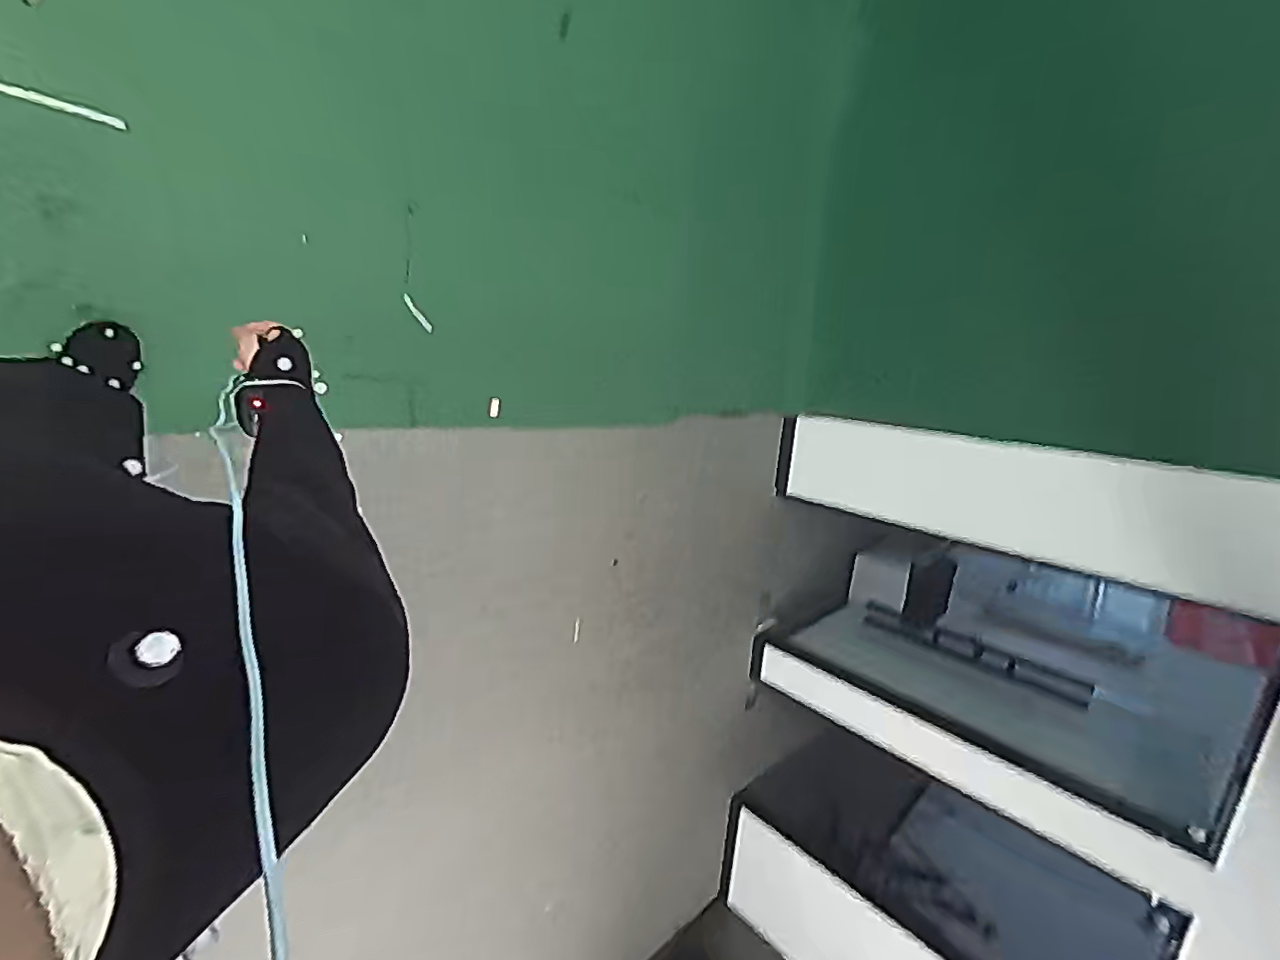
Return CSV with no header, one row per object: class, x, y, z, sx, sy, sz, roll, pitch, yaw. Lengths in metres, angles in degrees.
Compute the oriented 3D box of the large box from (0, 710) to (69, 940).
large box,-1.394,0.712,1.020,0.408,0.320,0.320,-8,108,-44
